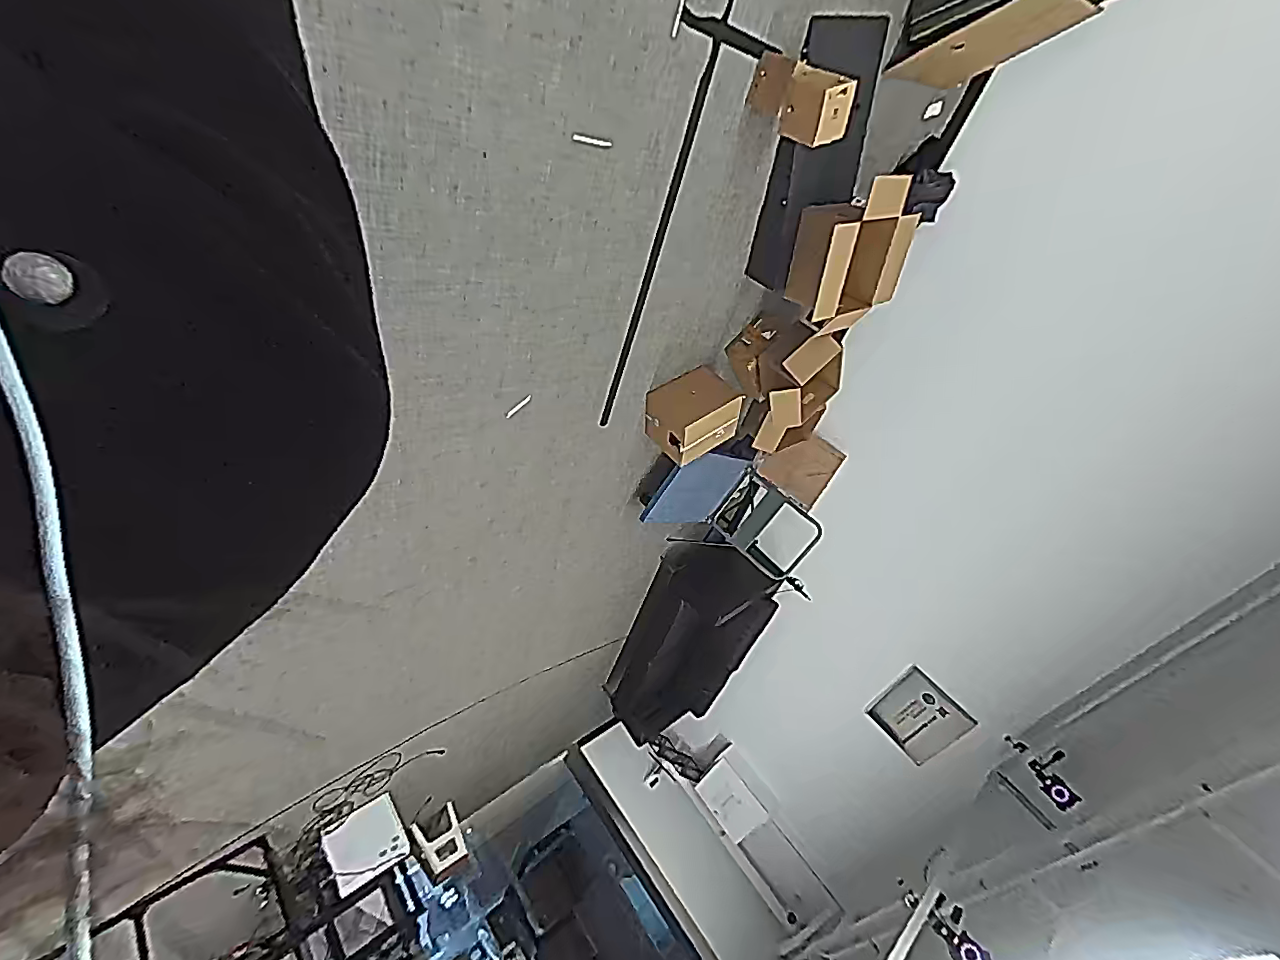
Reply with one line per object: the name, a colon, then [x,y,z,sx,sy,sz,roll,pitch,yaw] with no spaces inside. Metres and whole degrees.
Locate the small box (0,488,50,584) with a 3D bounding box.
small box: [-1.582,0.139,1.300,0.168,0.176,0.179,-21,144,-37]
